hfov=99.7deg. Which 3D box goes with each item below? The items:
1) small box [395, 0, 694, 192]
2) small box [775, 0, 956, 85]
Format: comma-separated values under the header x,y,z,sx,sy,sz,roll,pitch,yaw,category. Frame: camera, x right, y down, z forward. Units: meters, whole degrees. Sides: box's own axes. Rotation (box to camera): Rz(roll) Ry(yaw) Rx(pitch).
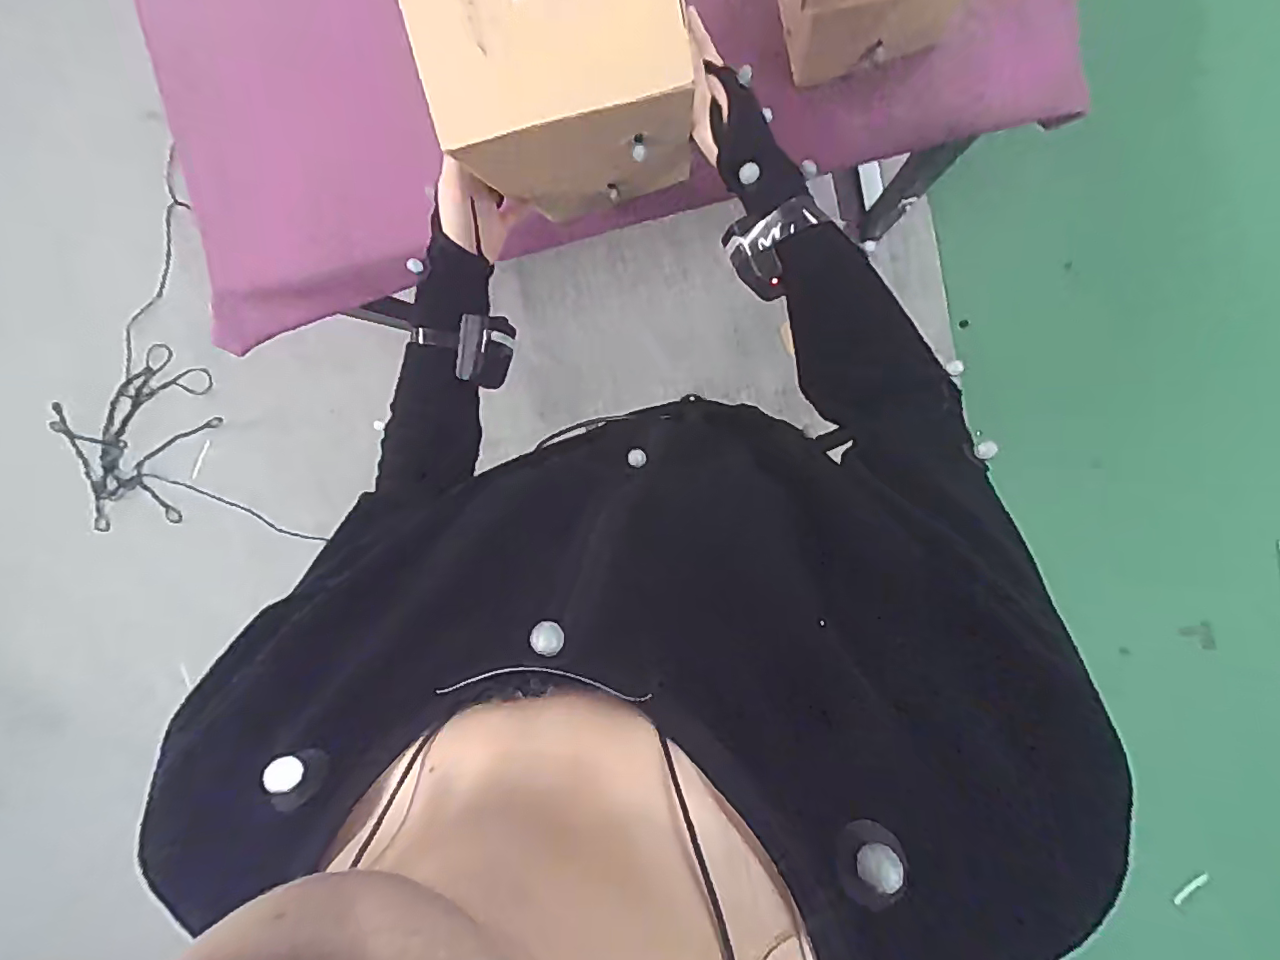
x,y,z,sx,sy,sz,roll,pitch,yaw,category
-0.063,-0.334,0.400,0.179,0.176,0.168,-10,105,6,small box
0.248,-0.579,0.583,0.179,0.176,0.168,-12,93,9,small box
